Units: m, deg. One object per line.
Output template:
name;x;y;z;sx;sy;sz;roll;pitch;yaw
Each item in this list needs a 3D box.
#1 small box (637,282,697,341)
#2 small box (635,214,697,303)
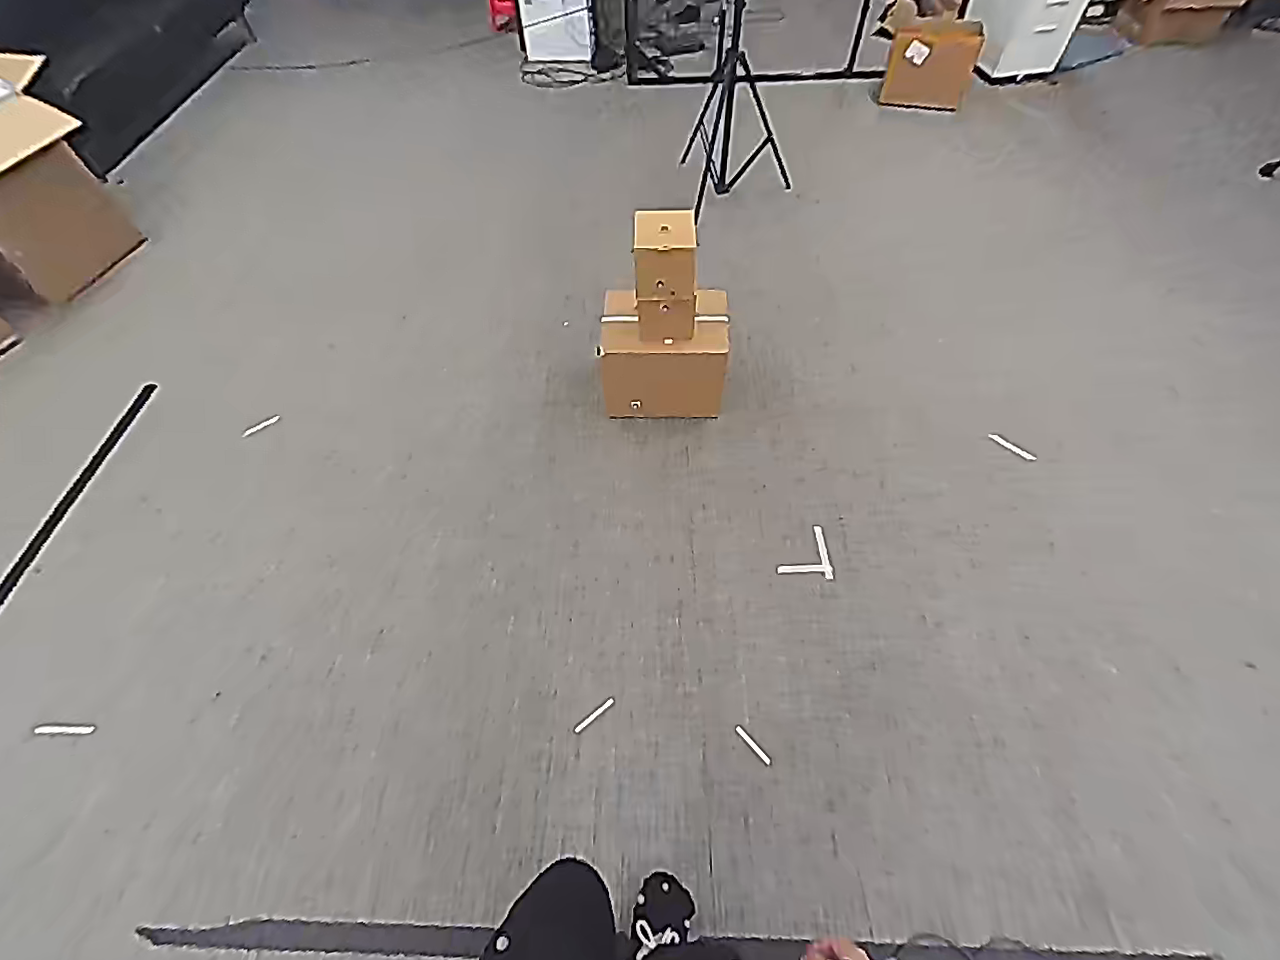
small box;0.081;-0.544;1.672;0.179;0.176;0.168;-1;57;1
small box;0.071;-0.627;1.532;0.168;0.176;0.179;-1;58;2
